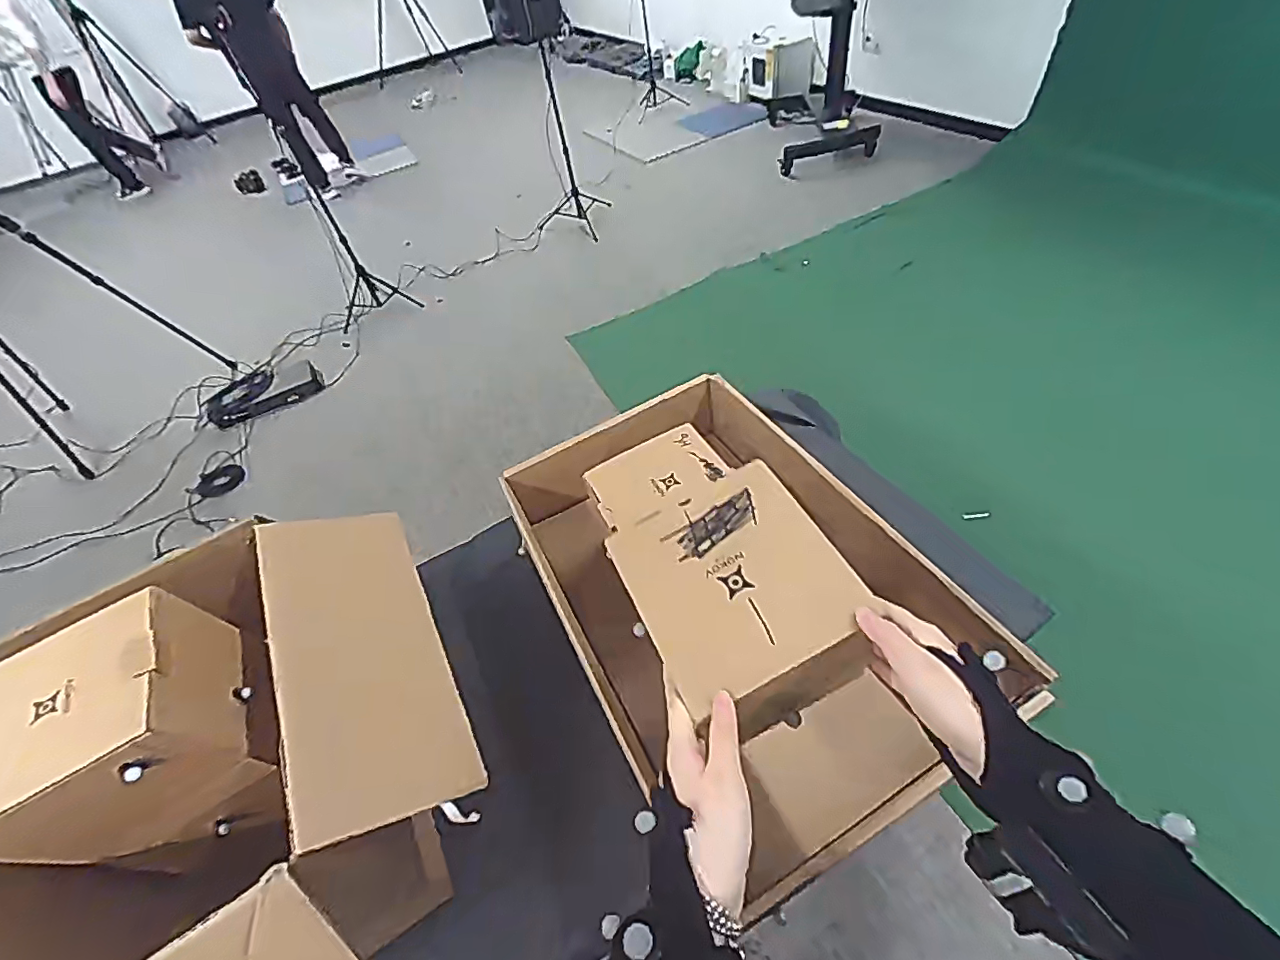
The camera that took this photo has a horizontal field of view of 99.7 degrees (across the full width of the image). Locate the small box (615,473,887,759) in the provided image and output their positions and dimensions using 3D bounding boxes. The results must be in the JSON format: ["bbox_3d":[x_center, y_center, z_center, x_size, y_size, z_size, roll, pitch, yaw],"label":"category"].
[{"bbox_3d":[0.097,0.132,0.512,0.168,0.176,0.179,-27,53,-5],"label":"small box"}]

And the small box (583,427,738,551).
[{"bbox_3d":[0.044,0.062,0.781,0.179,0.176,0.168,-27,52,-10],"label":"small box"}]
